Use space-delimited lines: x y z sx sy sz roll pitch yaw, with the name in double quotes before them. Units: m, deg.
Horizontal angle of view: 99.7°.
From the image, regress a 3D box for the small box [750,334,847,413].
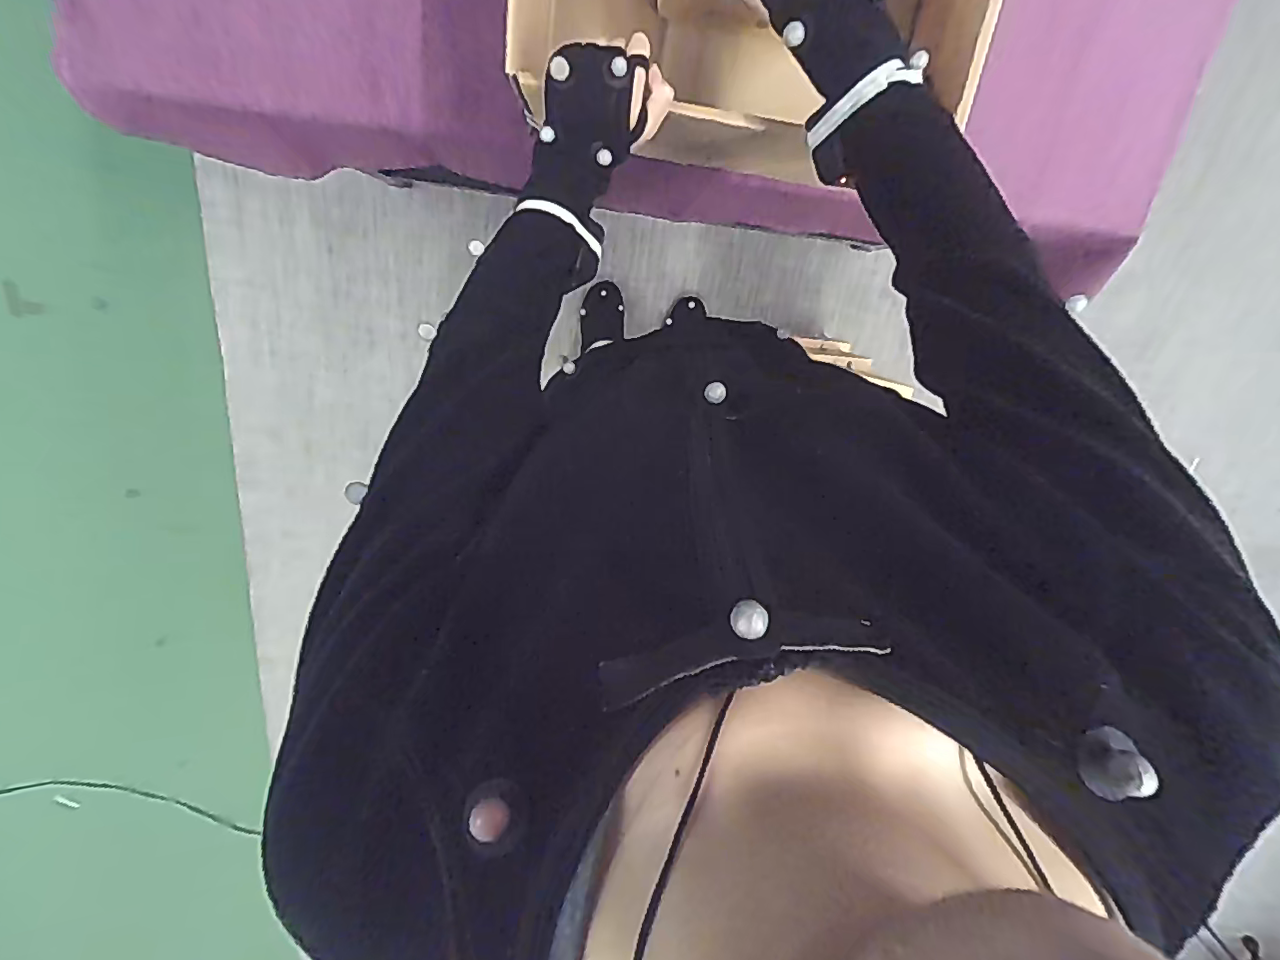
"small box" 0.396 -0.277 1.379 0.179 0.176 0.168 5 110 -4
